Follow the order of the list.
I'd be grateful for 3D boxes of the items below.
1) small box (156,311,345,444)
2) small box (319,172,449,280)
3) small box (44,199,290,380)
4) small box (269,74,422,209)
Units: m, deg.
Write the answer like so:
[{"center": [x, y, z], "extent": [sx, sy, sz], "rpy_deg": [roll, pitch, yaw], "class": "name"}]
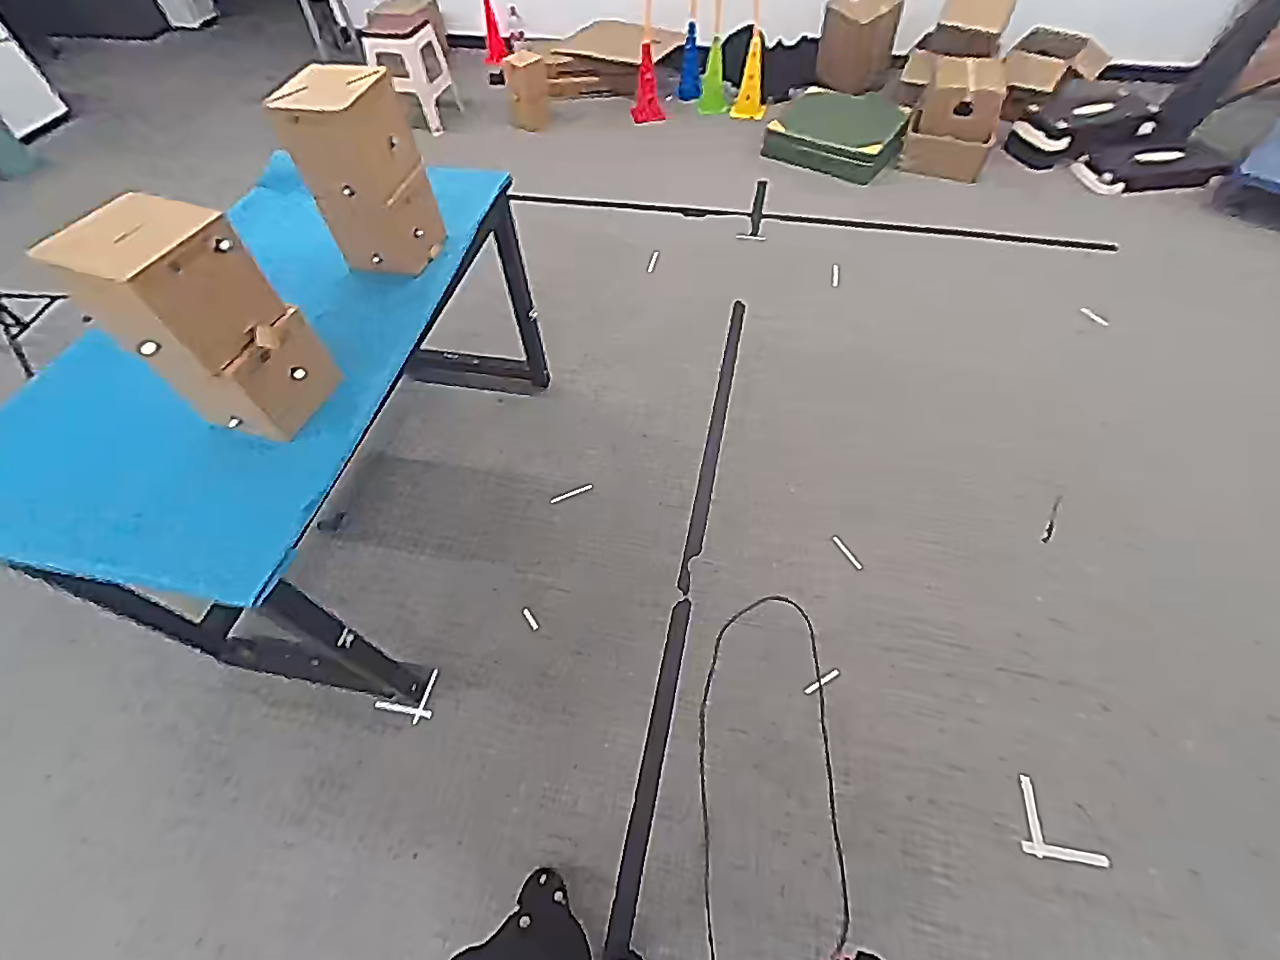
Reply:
[{"center": [-0.661, -0.189, 0.927], "extent": [0.179, 0.176, 0.168], "rpy_deg": [13, 56, 10], "class": "small box"}, {"center": [-0.555, -0.566, 1.187], "extent": [0.179, 0.176, 0.168], "rpy_deg": [8, 56, 8], "class": "small box"}, {"center": [-0.677, -0.279, 0.789], "extent": [0.179, 0.176, 0.168], "rpy_deg": [17, 57, 11], "class": "small box"}, {"center": [-0.565, -0.665, 1.057], "extent": [0.168, 0.176, 0.179], "rpy_deg": [9, 59, 10], "class": "small box"}]
